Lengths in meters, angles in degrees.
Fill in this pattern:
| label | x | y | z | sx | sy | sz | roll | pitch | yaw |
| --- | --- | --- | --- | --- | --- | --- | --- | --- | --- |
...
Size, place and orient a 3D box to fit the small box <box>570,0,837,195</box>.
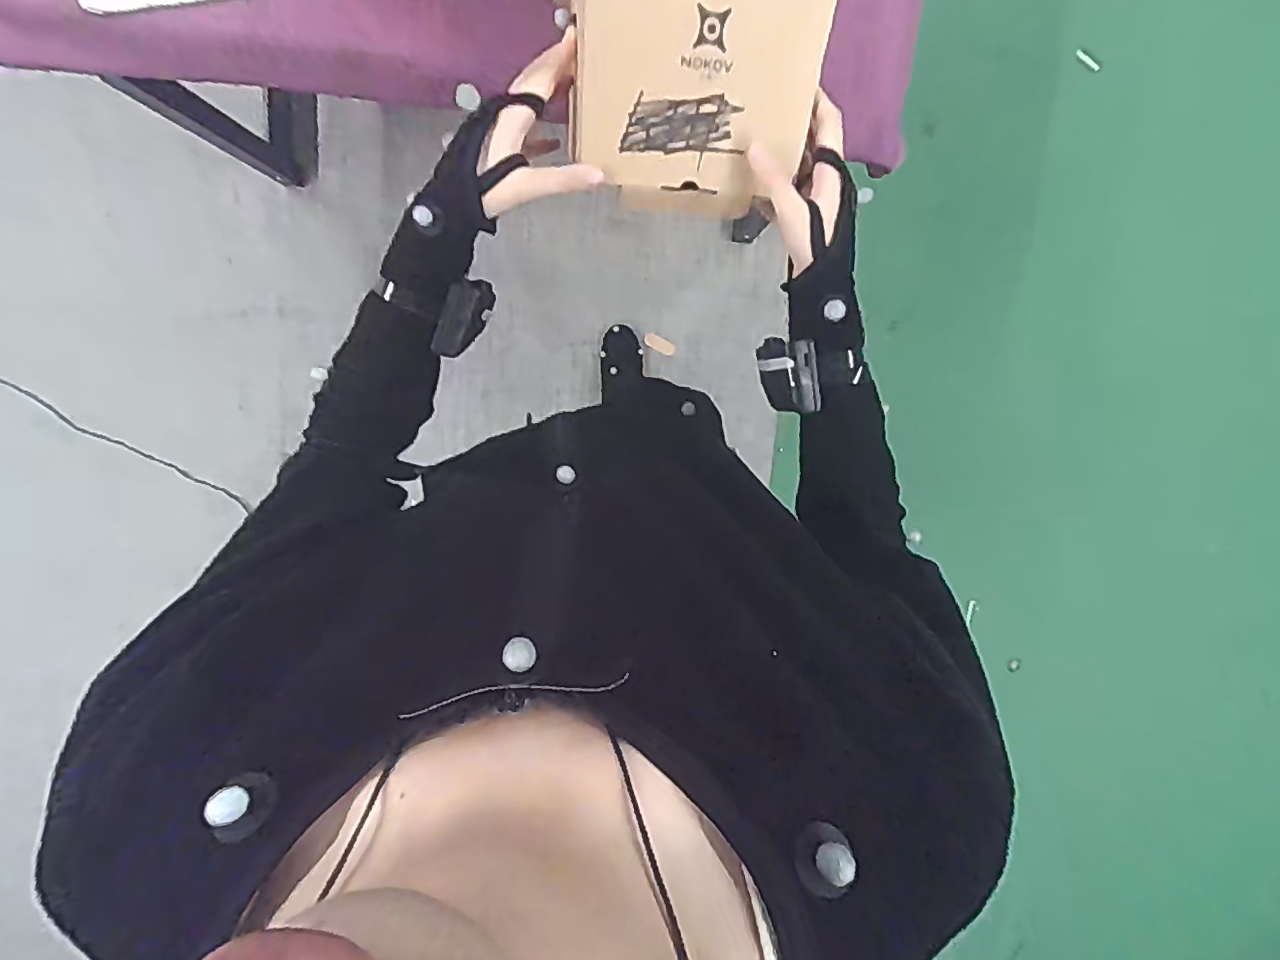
| label | x | y | z | sx | sy | sz | roll | pitch | yaw |
| --- | --- | --- | --- | --- | --- | --- | --- | --- | --- |
| small box | 0.034 | -0.338 | 0.418 | 0.168 | 0.176 | 0.179 | -1 | 126 | -10 |
